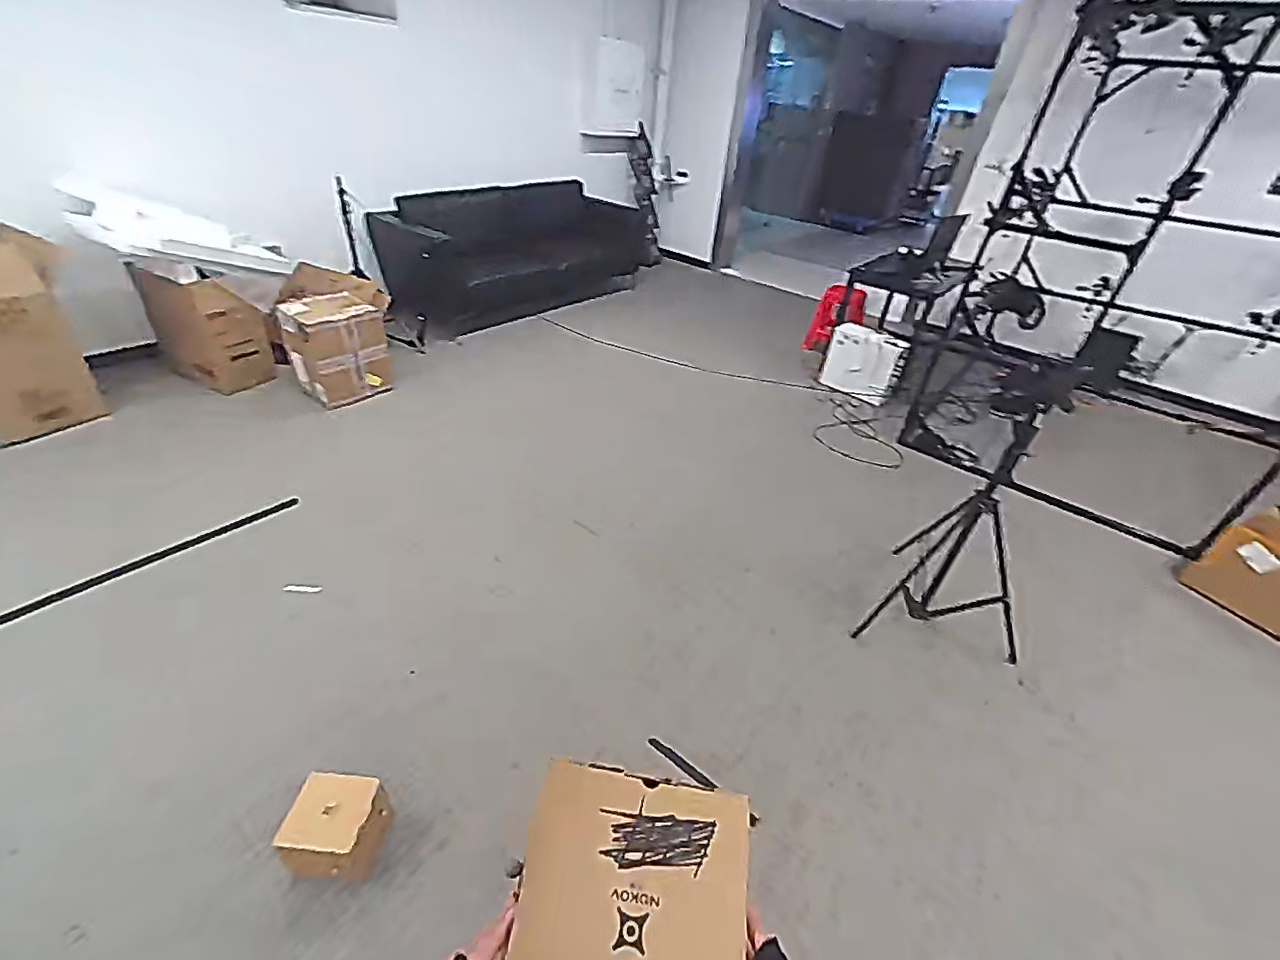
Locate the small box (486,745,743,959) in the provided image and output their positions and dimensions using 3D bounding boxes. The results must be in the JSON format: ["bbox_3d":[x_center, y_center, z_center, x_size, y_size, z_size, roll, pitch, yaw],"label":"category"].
[{"bbox_3d":[-0.026,0.337,0.438,0.168,0.176,0.179,14,54,-5],"label":"small box"}]

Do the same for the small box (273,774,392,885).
[{"bbox_3d":[-0.716,0.834,1.287,0.179,0.176,0.168,5,34,0],"label":"small box"}]
